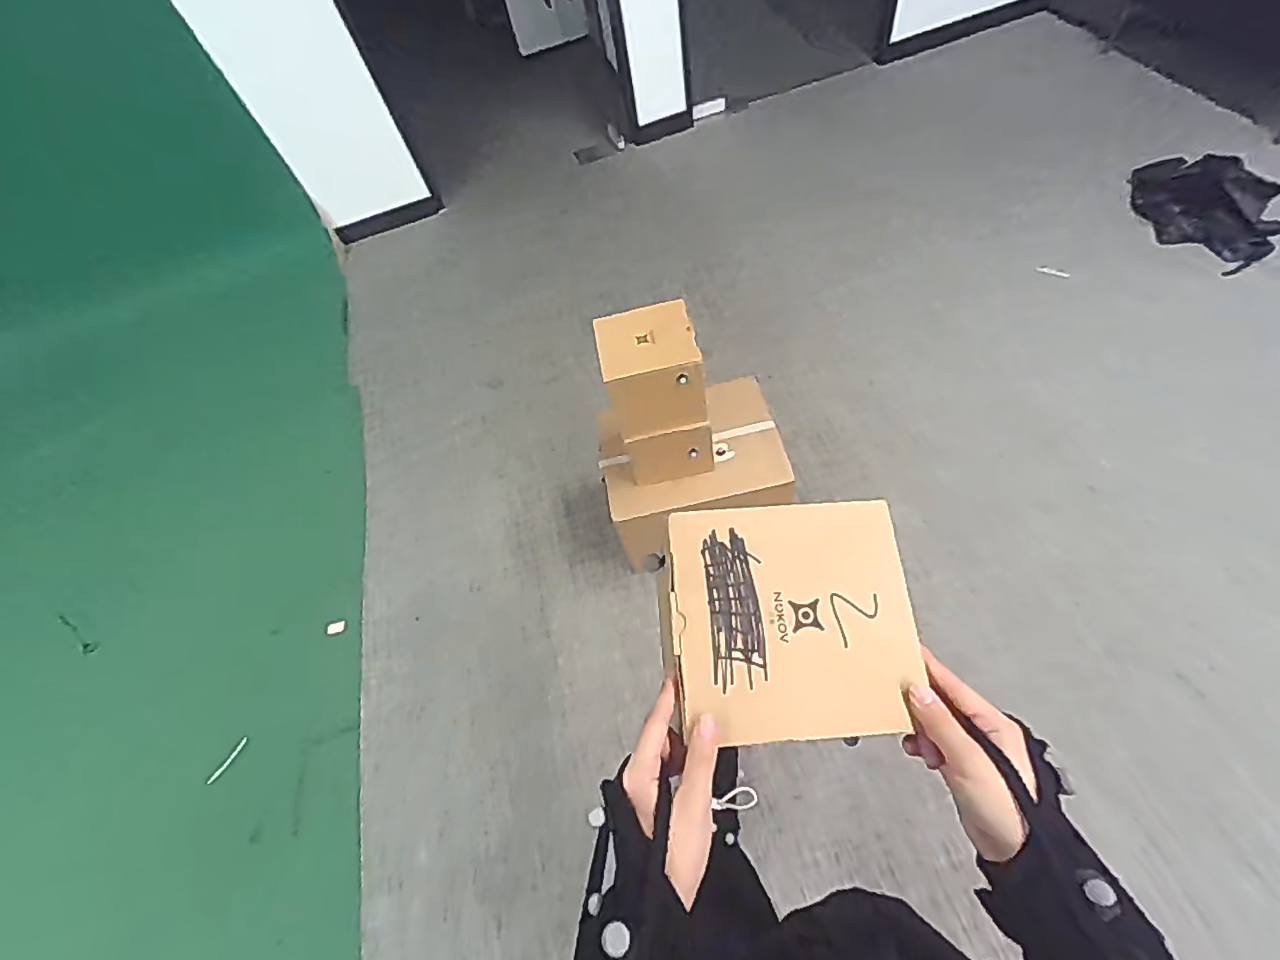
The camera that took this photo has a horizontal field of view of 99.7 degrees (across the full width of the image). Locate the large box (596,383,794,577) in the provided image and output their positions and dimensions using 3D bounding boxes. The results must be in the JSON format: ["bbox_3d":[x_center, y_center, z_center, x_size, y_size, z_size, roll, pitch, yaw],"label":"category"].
[{"bbox_3d":[0.131,0.011,1.361,0.408,0.320,0.320,-13,58,1],"label":"large box"}]

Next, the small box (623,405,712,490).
[{"bbox_3d":[0.055,-0.101,1.155,0.179,0.176,0.168,-13,56,3],"label":"small box"}]

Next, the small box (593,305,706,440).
[{"bbox_3d":[0.021,-0.198,1.028,0.179,0.176,0.168,-13,56,2],"label":"small box"}]
